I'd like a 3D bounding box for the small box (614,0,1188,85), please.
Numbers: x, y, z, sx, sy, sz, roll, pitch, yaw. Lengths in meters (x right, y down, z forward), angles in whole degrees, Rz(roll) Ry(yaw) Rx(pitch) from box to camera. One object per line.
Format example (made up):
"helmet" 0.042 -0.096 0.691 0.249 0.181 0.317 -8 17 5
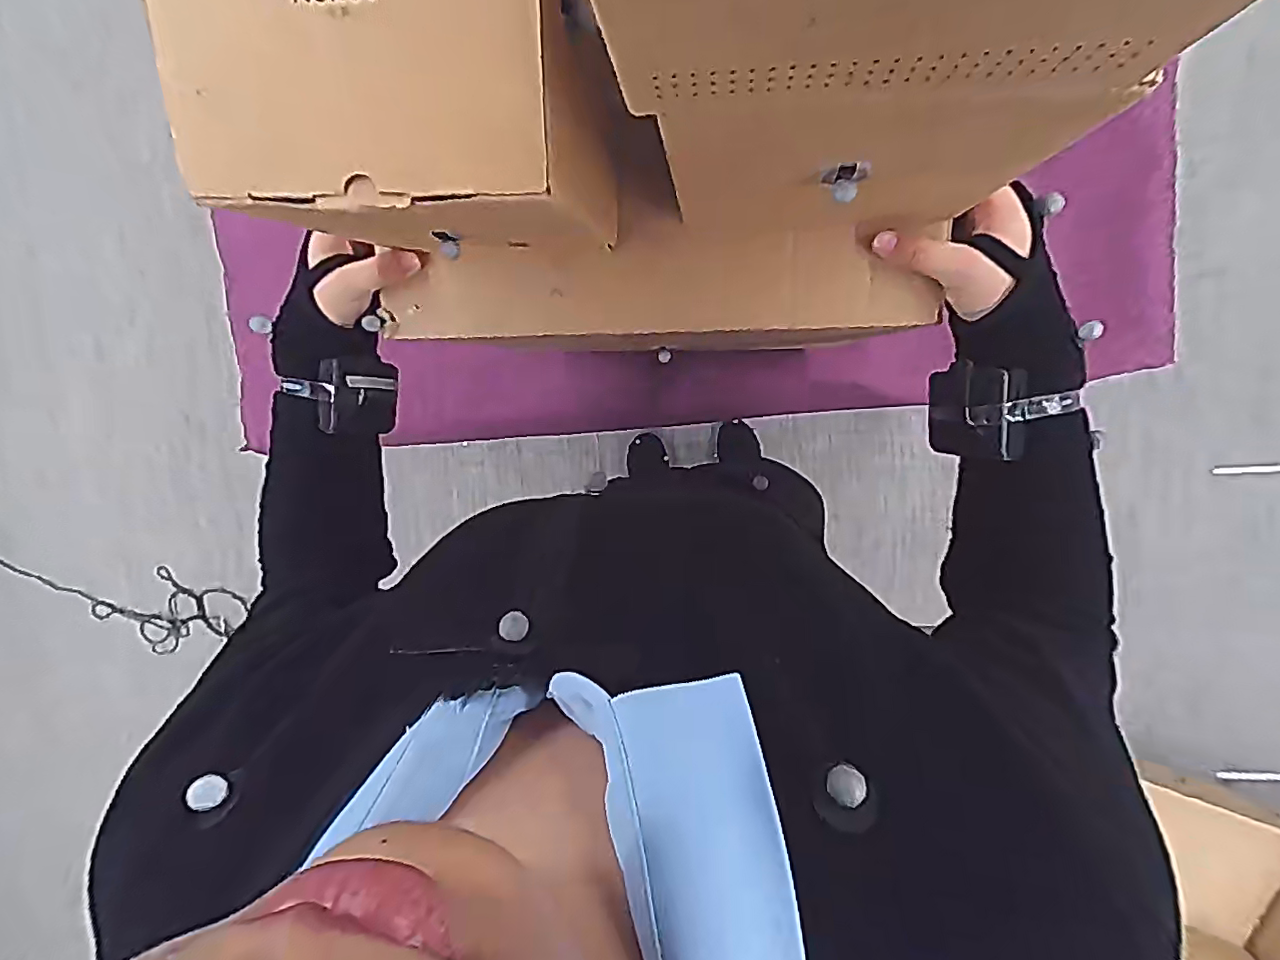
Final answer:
"small box" 0.071 -0.200 0.093 0.179 0.176 0.168 3 102 8
